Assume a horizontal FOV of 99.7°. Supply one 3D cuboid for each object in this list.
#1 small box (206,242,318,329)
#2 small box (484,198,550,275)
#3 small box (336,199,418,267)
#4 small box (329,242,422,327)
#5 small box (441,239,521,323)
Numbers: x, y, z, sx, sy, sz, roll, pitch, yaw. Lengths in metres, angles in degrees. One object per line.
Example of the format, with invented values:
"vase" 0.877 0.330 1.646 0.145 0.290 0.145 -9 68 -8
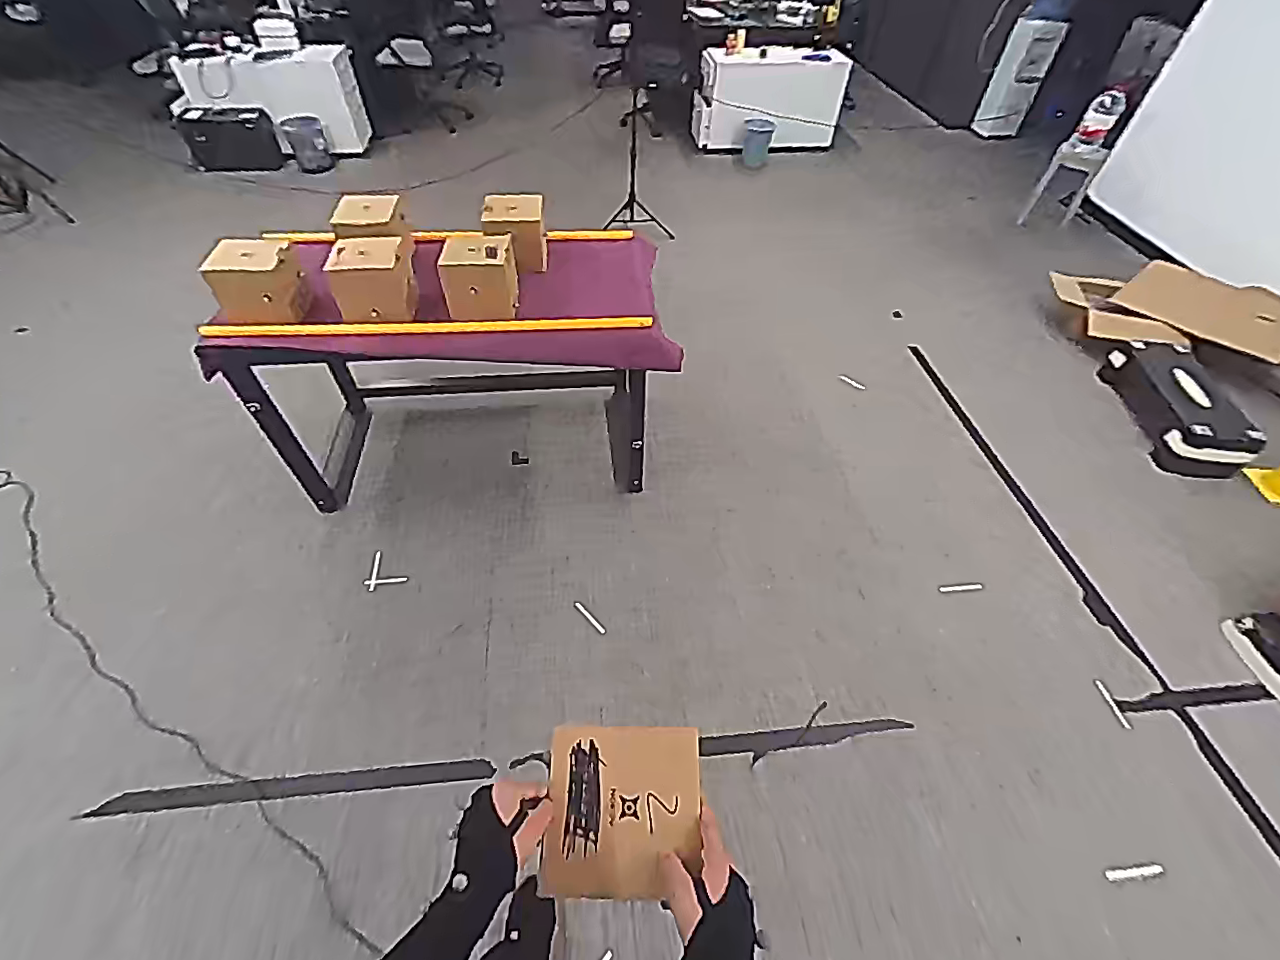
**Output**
"small box" -1.015 -0.527 1.475 0.179 0.176 0.168 -2 49 -7
"small box" -0.378 -0.760 1.697 0.179 0.176 0.168 -3 51 -4
"small box" -0.799 -0.740 1.664 0.168 0.176 0.179 -3 52 -4
"small box" -0.721 -0.539 1.498 0.179 0.176 0.168 -4 50 -5
"small box" -0.438 -0.558 1.523 0.179 0.176 0.168 -2 48 -2
